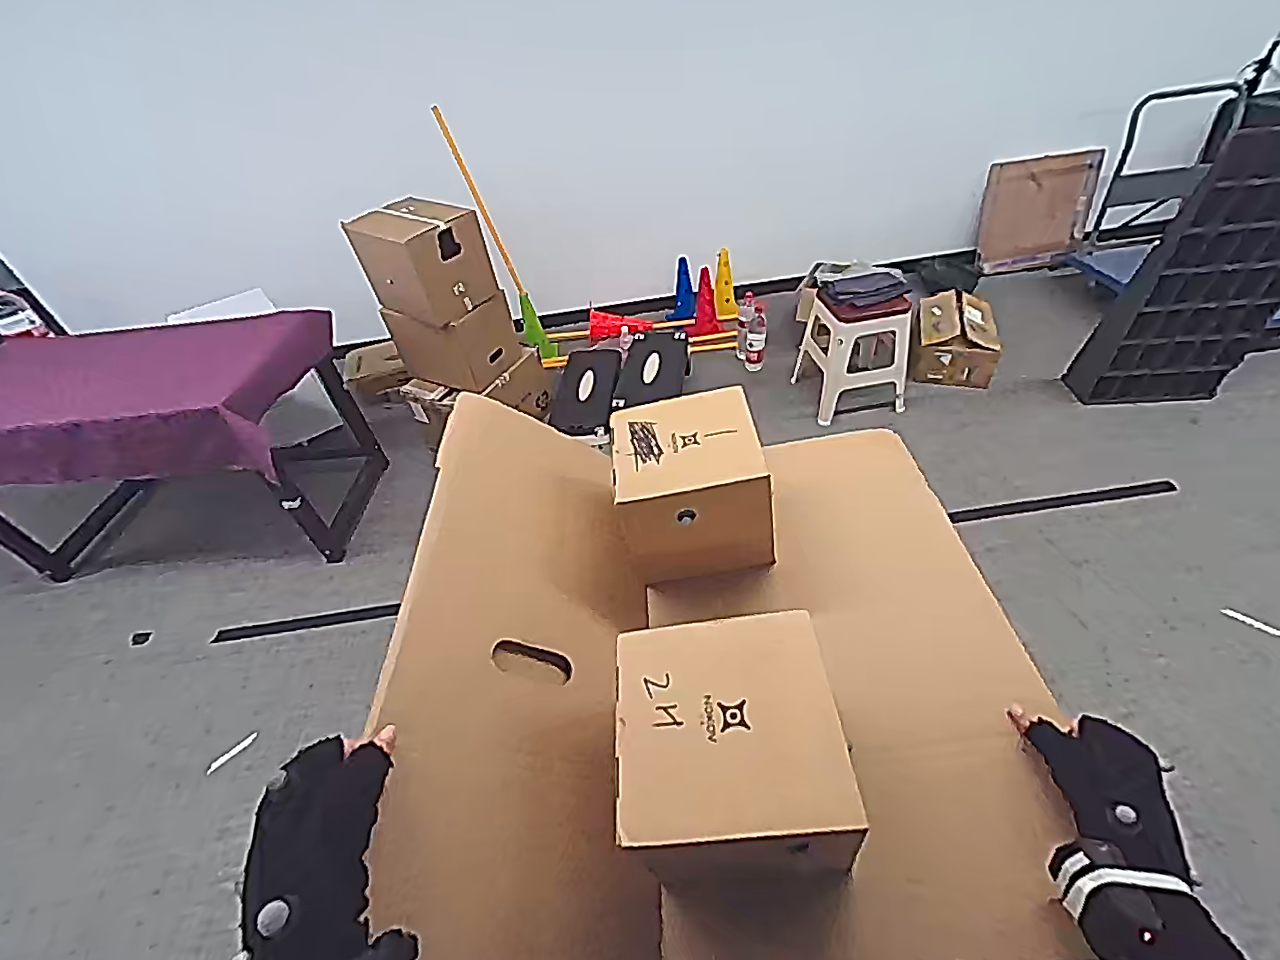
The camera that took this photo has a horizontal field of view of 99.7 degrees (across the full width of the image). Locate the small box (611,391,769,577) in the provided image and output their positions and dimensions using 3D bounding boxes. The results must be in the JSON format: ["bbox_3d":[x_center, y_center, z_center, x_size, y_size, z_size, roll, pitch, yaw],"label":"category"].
[{"bbox_3d":[0.066,0.011,0.719,0.179,0.176,0.168,-11,46,6],"label":"small box"}]

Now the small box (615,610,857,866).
[{"bbox_3d":[0.082,0.241,0.497,0.179,0.176,0.168,-10,46,9],"label":"small box"}]
